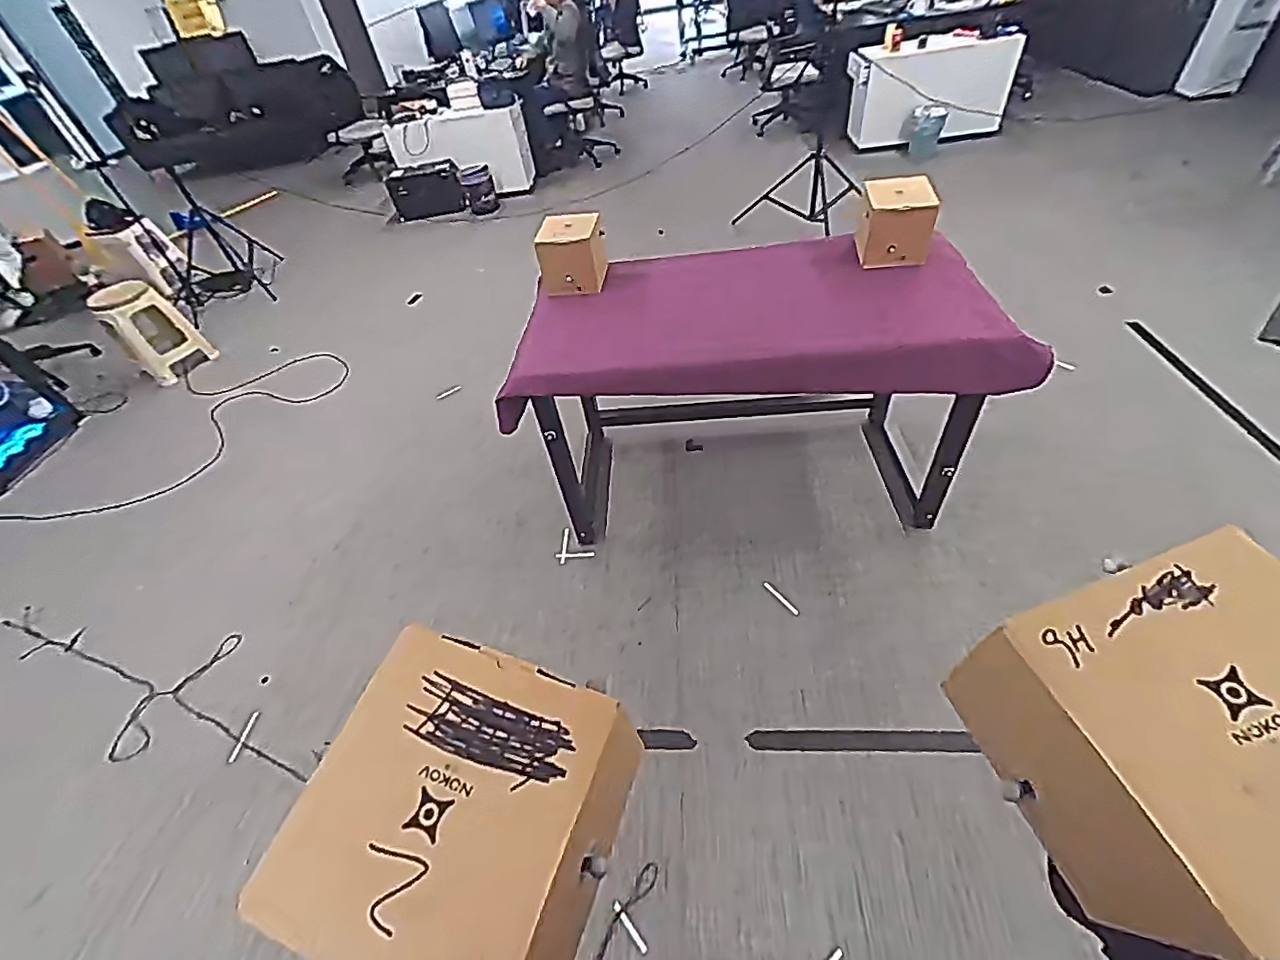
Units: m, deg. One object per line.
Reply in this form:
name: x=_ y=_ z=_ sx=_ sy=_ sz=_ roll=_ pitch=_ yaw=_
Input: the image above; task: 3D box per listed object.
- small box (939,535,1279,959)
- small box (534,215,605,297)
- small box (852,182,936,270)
small box: x=0.343 y=0.171 z=0.364 sx=0.168 sy=0.176 sz=0.179 roll=-22 pitch=56 yaw=-1
small box: x=-0.204 y=-0.674 z=1.630 sx=0.168 sy=0.176 sz=0.179 roll=0 pitch=49 yaw=9
small box: x=0.704 y=-0.712 z=1.520 sx=0.168 sy=0.176 sz=0.179 roll=0 pitch=51 yaw=10
